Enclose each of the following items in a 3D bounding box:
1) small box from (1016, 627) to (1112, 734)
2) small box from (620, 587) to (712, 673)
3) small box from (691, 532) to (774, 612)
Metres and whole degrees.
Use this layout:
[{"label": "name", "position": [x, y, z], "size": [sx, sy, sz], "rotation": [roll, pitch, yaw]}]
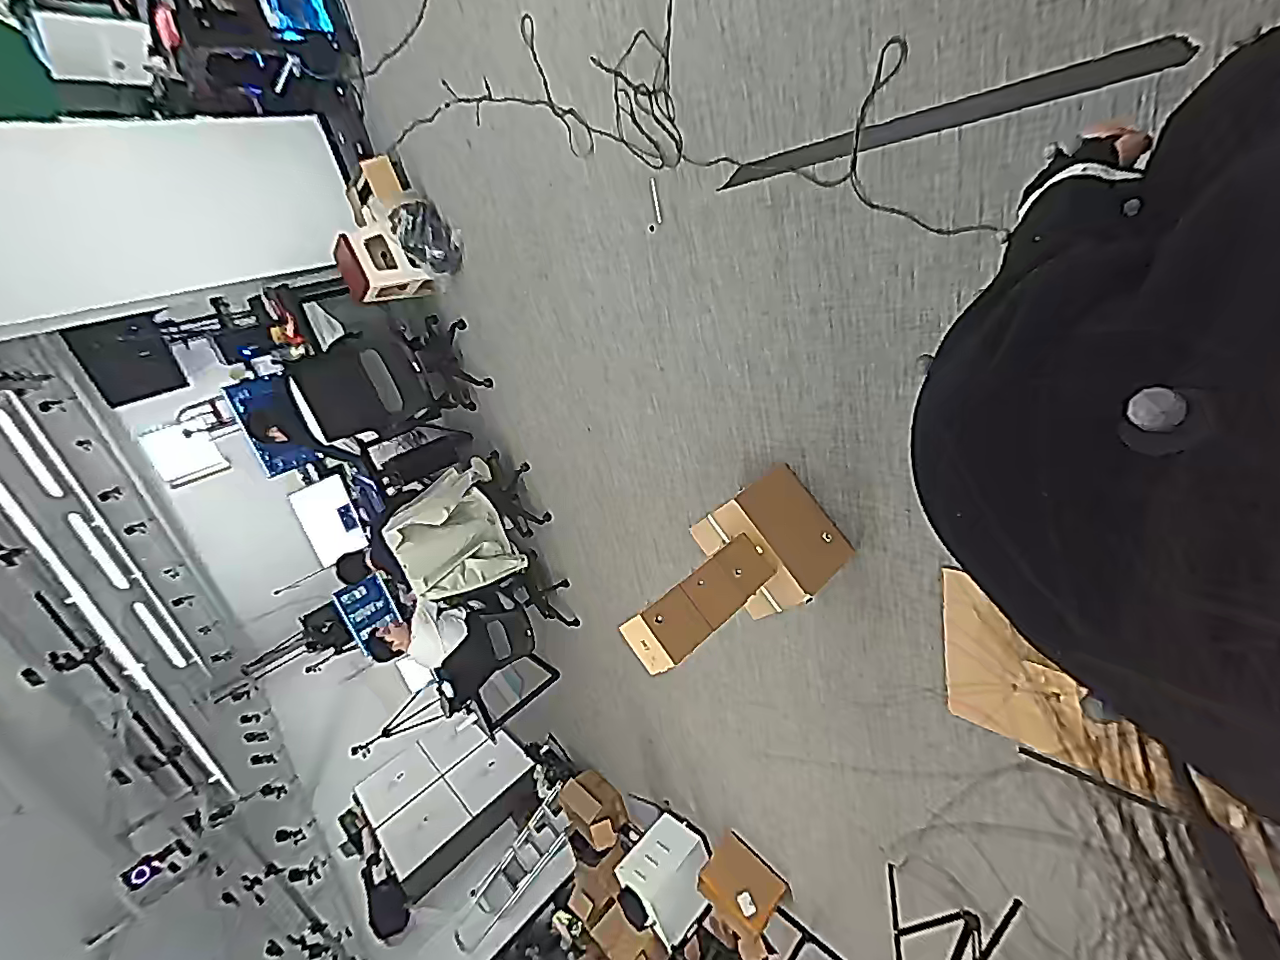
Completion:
[{"label": "small box", "position": [1.136, 0.526, 1.448], "size": [0.168, 0.176, 0.179], "rotation": [16, 127, 42]}, {"label": "small box", "position": [0.077, 0.439, 1.607], "size": [0.179, 0.176, 0.168], "rotation": [53, 145, 9]}, {"label": "small box", "position": [0.310, 0.304, 1.797], "size": [0.179, 0.176, 0.168], "rotation": [54, 144, 11]}]
